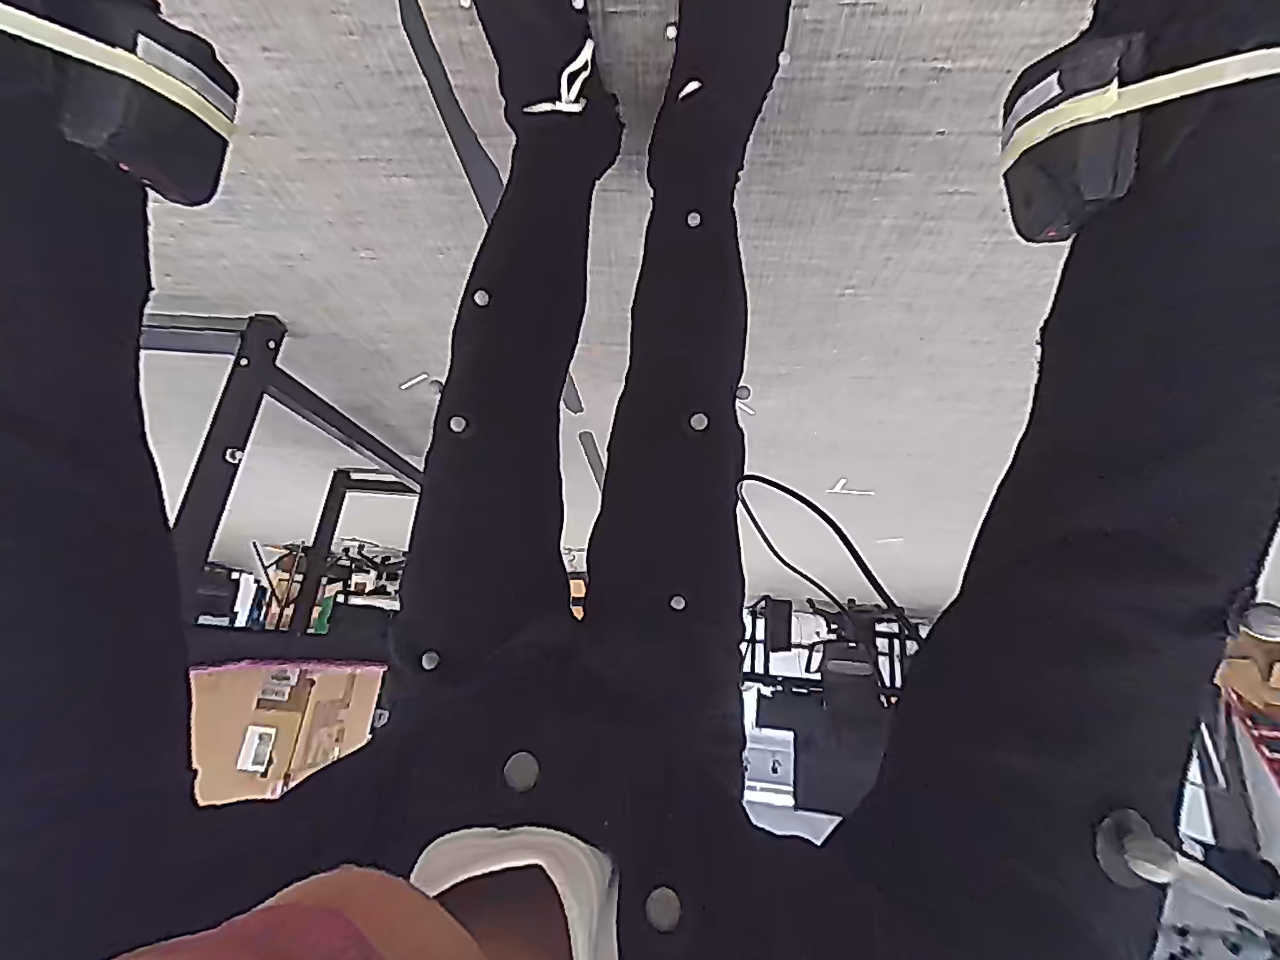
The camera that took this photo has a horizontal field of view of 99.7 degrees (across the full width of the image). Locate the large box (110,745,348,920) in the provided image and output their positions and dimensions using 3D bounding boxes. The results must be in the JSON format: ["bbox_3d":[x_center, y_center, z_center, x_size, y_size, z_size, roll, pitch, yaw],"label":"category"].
[{"bbox_3d":[-1.131,0.967,1.532,0.408,0.320,0.320,4,166,4],"label":"large box"}]
